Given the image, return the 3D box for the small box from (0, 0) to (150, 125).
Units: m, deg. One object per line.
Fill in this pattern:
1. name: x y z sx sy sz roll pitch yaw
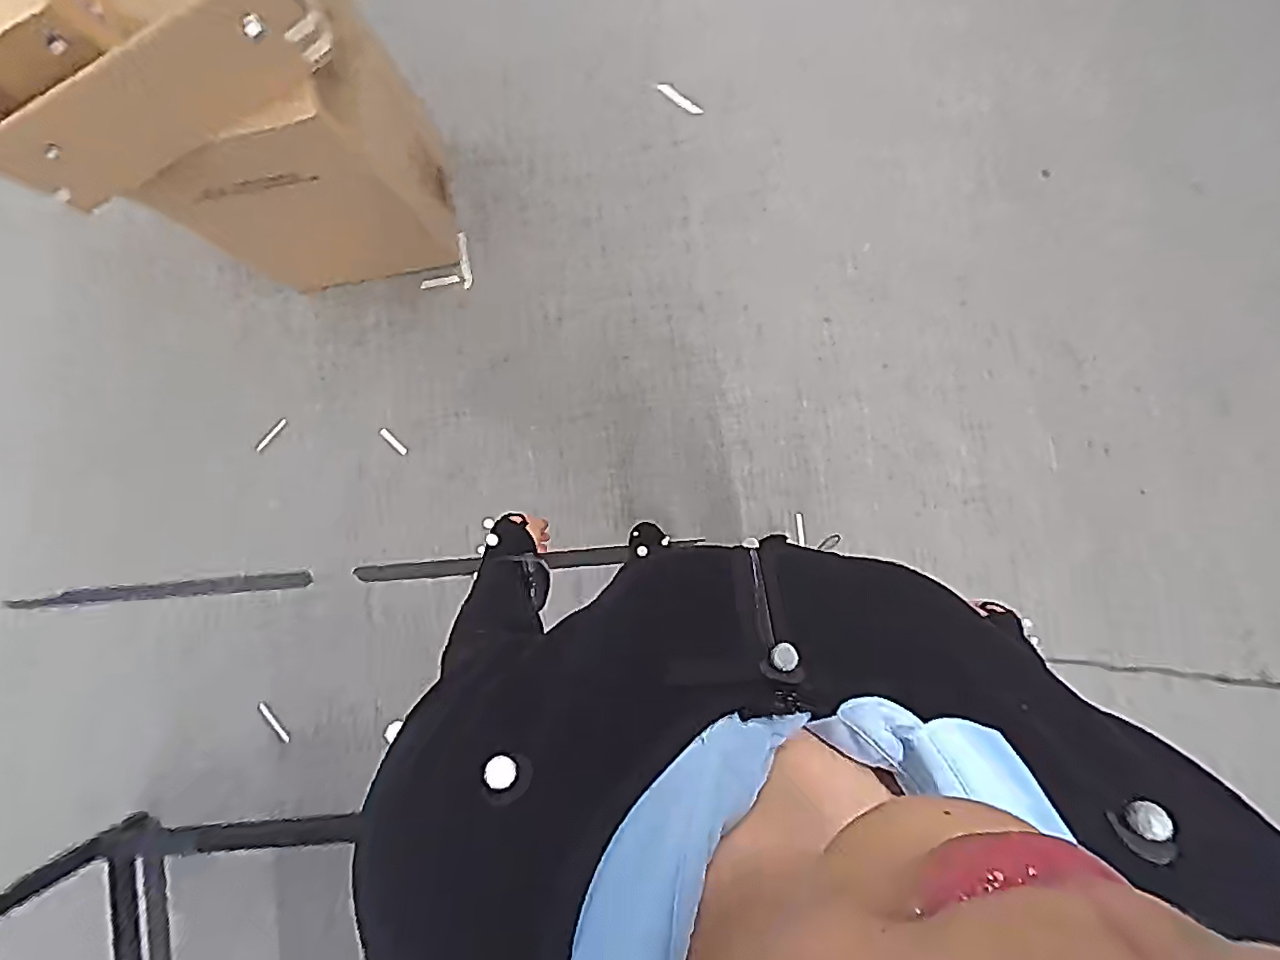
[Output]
1. small box: -1.002 -0.767 0.929 0.179 0.176 0.168 -26 86 4
